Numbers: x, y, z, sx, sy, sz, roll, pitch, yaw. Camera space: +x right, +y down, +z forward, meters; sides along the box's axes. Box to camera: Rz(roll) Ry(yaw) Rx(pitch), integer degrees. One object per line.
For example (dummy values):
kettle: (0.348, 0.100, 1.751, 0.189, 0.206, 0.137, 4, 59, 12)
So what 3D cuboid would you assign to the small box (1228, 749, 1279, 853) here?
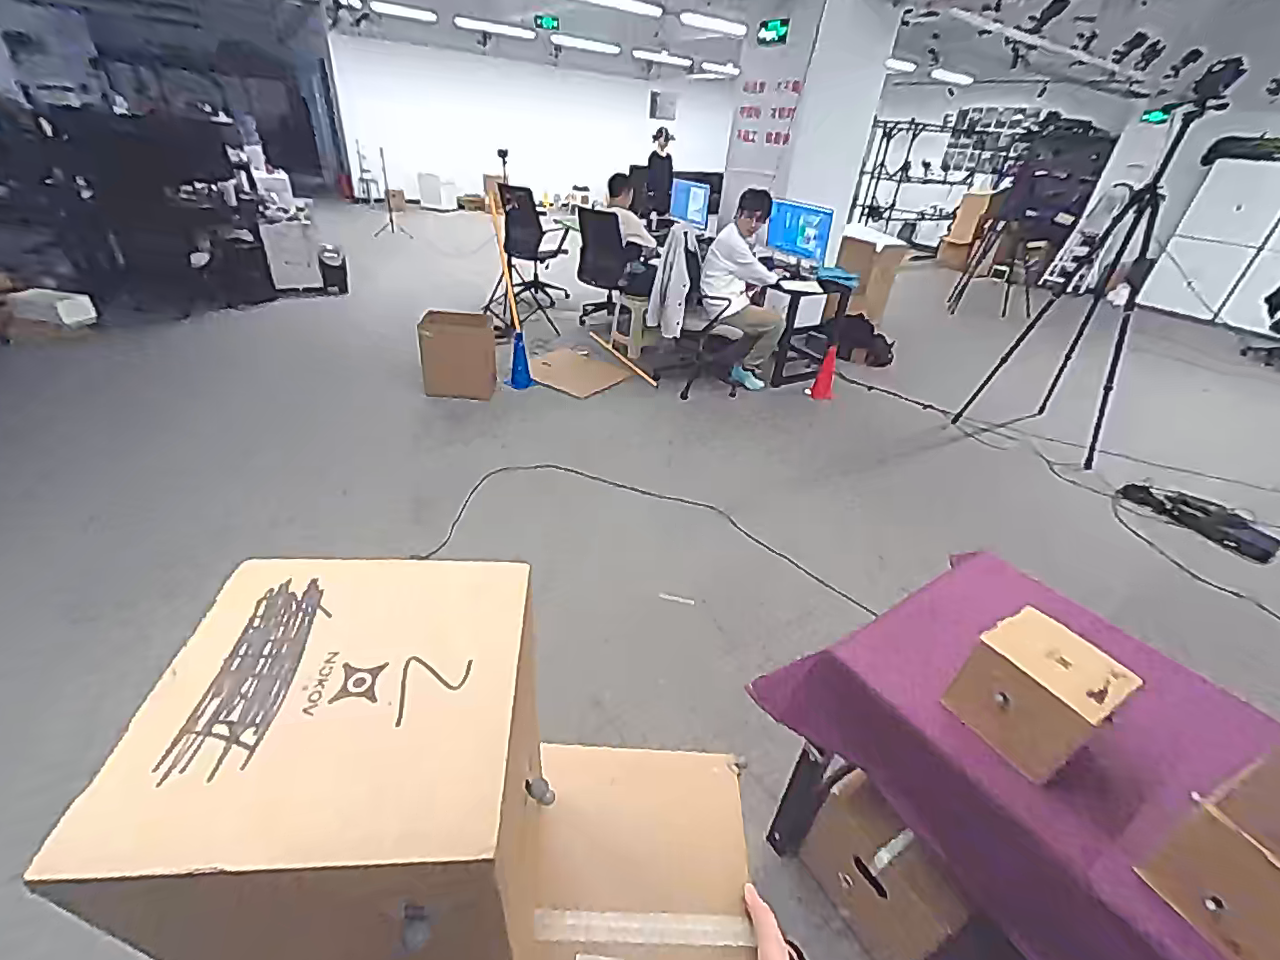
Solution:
small box: (0.824, 0.356, 0.591, 0.179, 0.176, 0.168, -11, 36, -22)

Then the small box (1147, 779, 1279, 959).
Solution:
small box: (0.805, 0.495, 0.679, 0.179, 0.176, 0.168, -12, 36, -23)

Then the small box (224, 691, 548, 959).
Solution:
small box: (-0.169, 0.291, 0.436, 0.179, 0.176, 0.168, 1, 38, -4)

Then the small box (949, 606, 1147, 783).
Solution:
small box: (0.650, 0.346, 0.884, 0.168, 0.176, 0.179, -15, 37, -27)
